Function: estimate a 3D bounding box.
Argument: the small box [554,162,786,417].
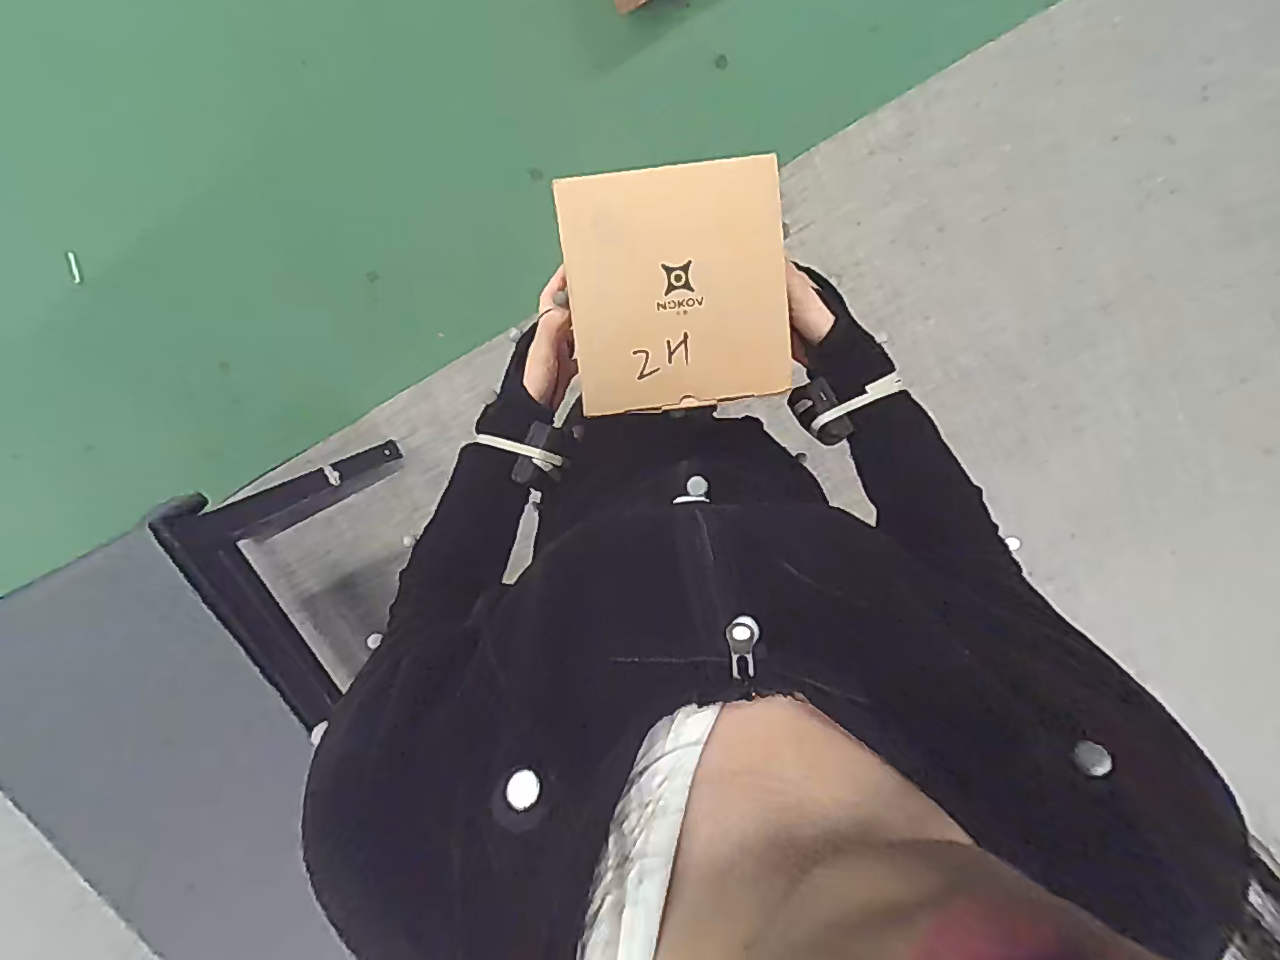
[{"bbox_3d":[0.022,-0.153,0.491,0.168,0.176,0.179,-7,99,0],"label":"small box"}]

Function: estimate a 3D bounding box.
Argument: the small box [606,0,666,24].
[{"bbox_3d":[-0.019,-1.131,1.137,0.168,0.176,0.179,-25,103,8],"label":"small box"}]
